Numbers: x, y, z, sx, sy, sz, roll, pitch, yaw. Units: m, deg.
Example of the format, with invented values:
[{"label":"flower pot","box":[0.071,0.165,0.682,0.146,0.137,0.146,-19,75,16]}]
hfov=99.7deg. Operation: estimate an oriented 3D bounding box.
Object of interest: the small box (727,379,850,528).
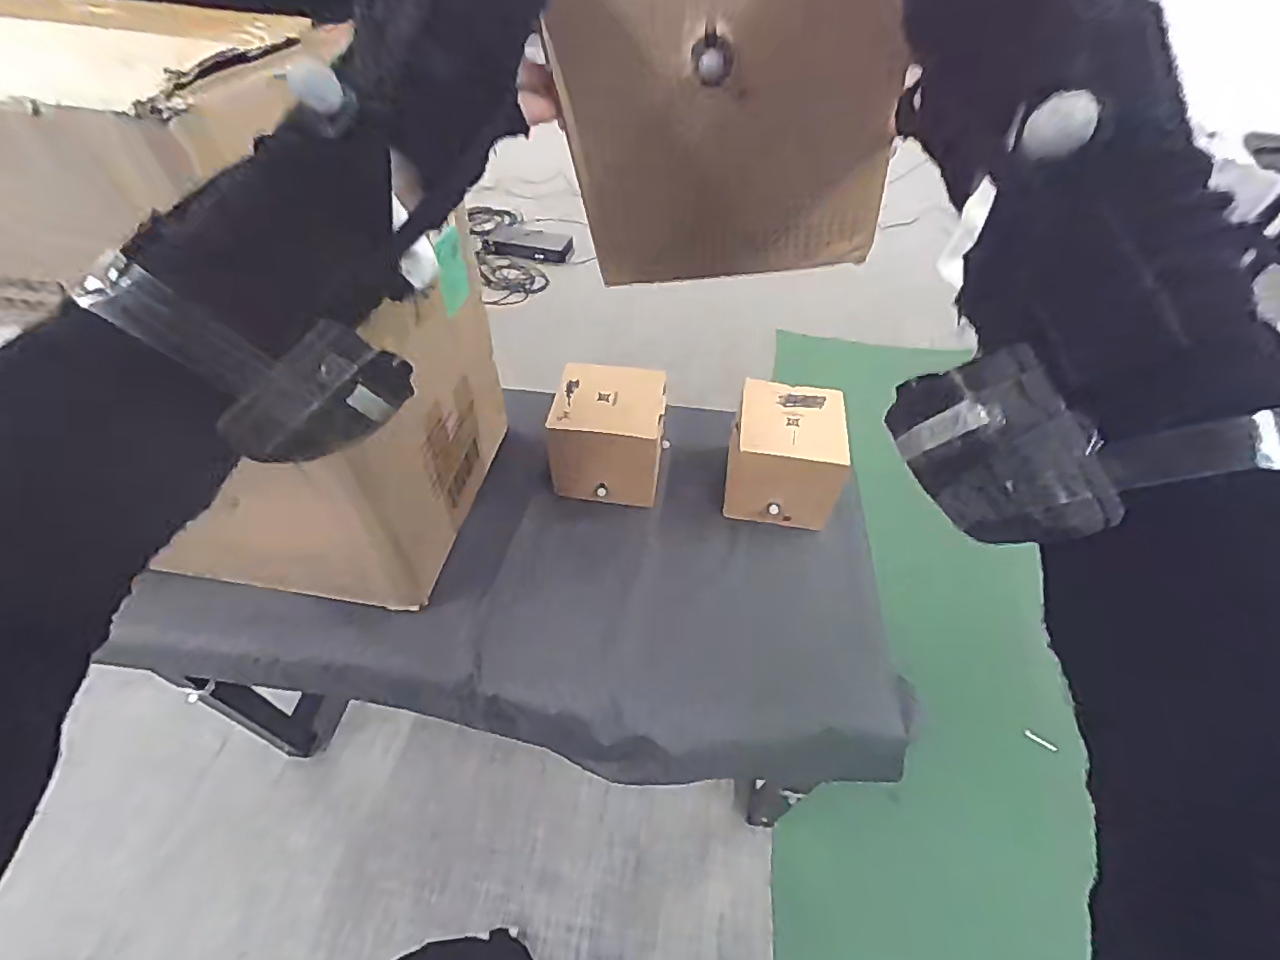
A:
[{"label":"small box","box":[0.244,-0.044,0.922,0.168,0.176,0.179,8,50,5]}]

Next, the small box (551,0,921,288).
[{"label":"small box","box":[0.063,-0.243,0.348,0.179,0.176,0.168,-1,58,10]}]
